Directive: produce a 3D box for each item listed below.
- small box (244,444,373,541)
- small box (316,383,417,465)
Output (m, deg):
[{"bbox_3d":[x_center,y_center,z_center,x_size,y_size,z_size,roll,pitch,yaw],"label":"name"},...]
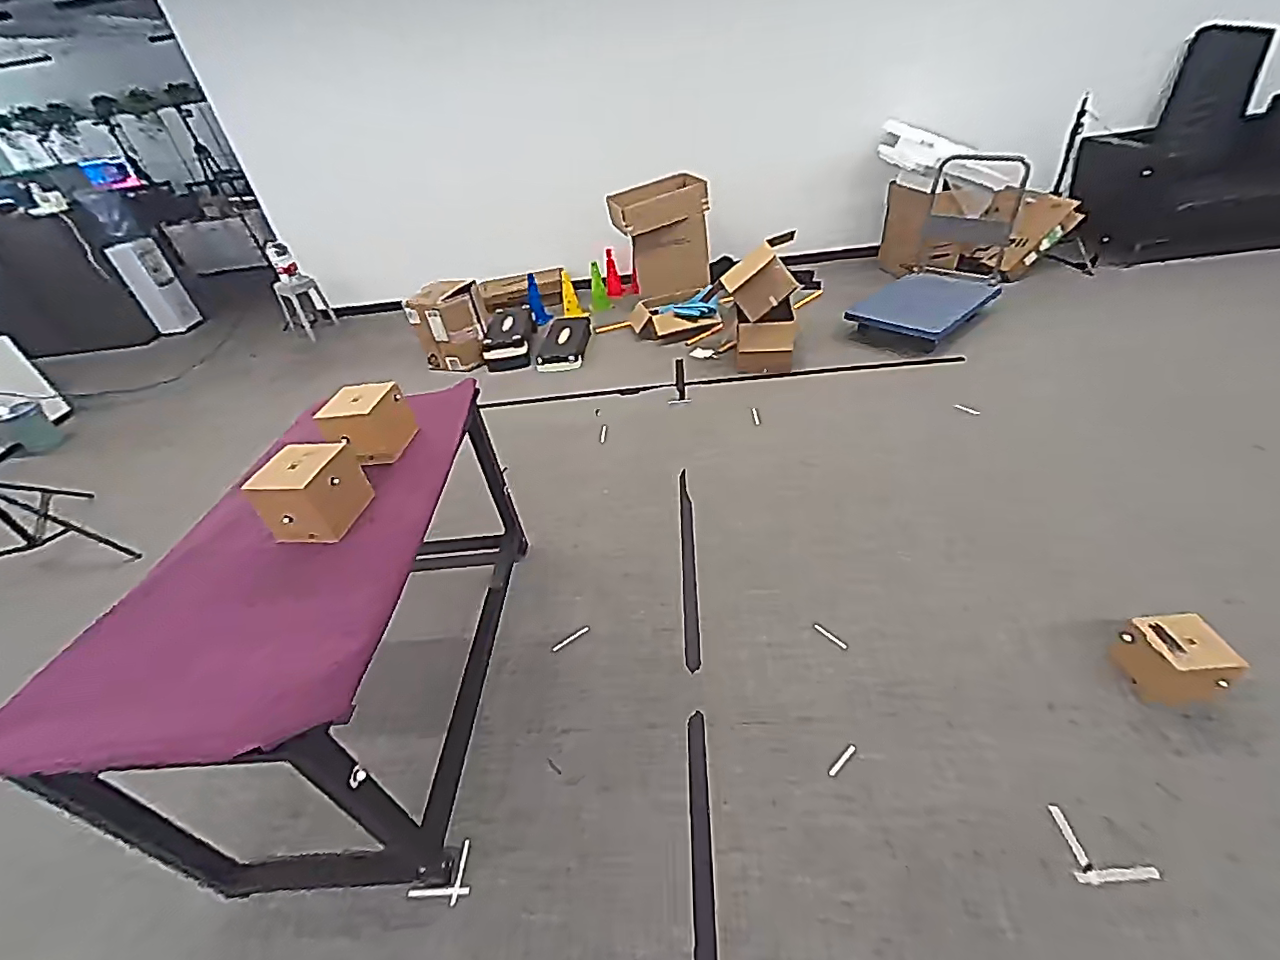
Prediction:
[{"bbox_3d":[-0.777,0.032,1.294,0.168,0.176,0.179,0,38,10],"label":"small box"},{"bbox_3d":[-0.760,-0.153,1.530,0.168,0.176,0.179,-4,37,8],"label":"small box"}]
